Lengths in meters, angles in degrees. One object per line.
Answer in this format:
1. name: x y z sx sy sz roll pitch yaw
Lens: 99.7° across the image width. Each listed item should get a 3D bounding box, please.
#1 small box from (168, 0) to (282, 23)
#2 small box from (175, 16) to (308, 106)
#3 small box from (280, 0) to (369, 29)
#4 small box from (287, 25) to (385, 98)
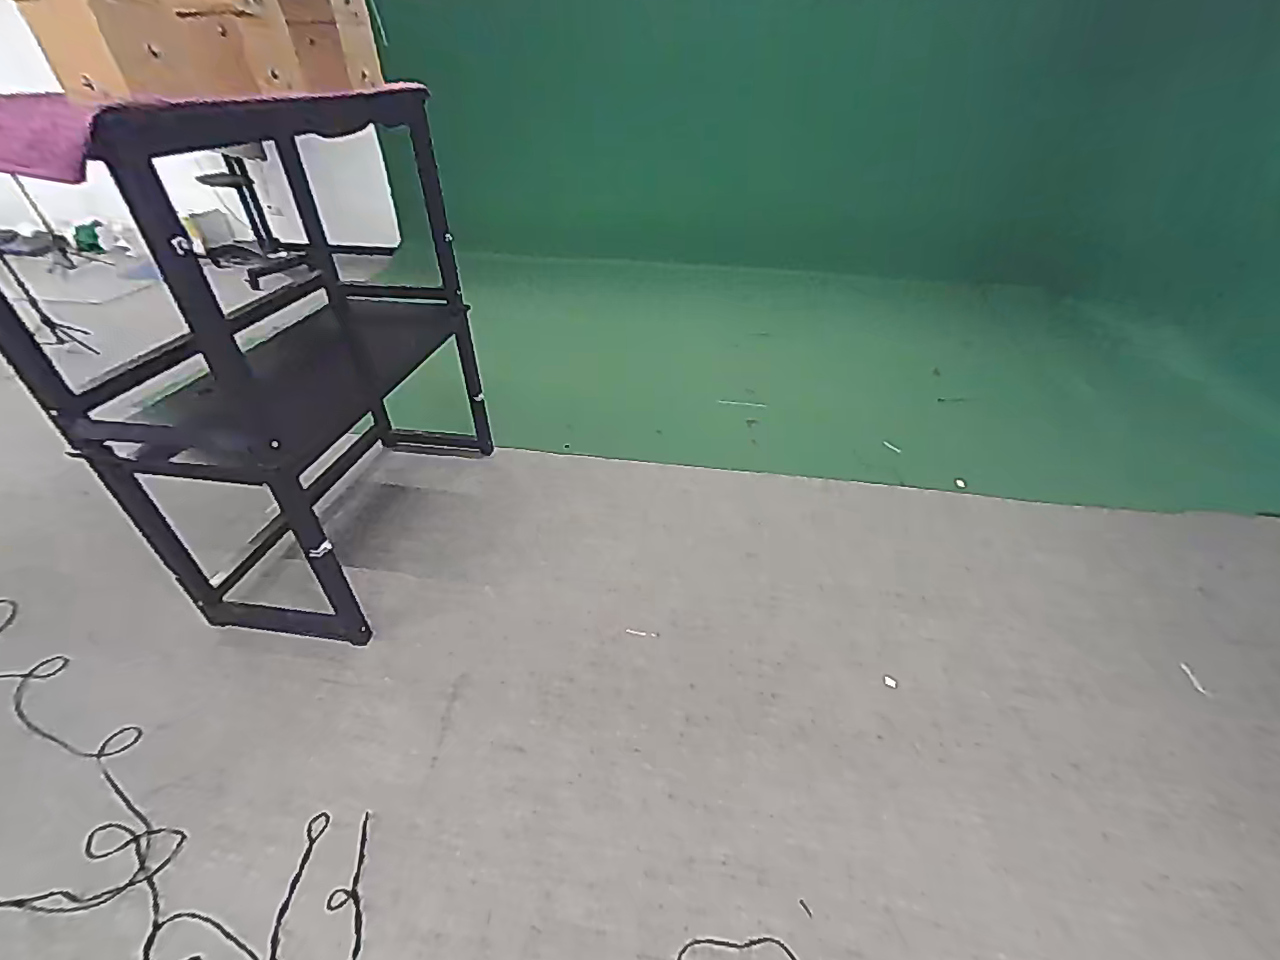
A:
1. small box: -0.987 -1.169 1.253 0.179 0.176 0.168 5 39 6
2. small box: -0.987 -1.044 1.357 0.179 0.176 0.168 7 38 11
3. small box: -0.923 -1.409 1.556 0.179 0.176 0.168 8 40 11
4. small box: -0.921 -1.278 1.657 0.179 0.176 0.168 9 39 10
